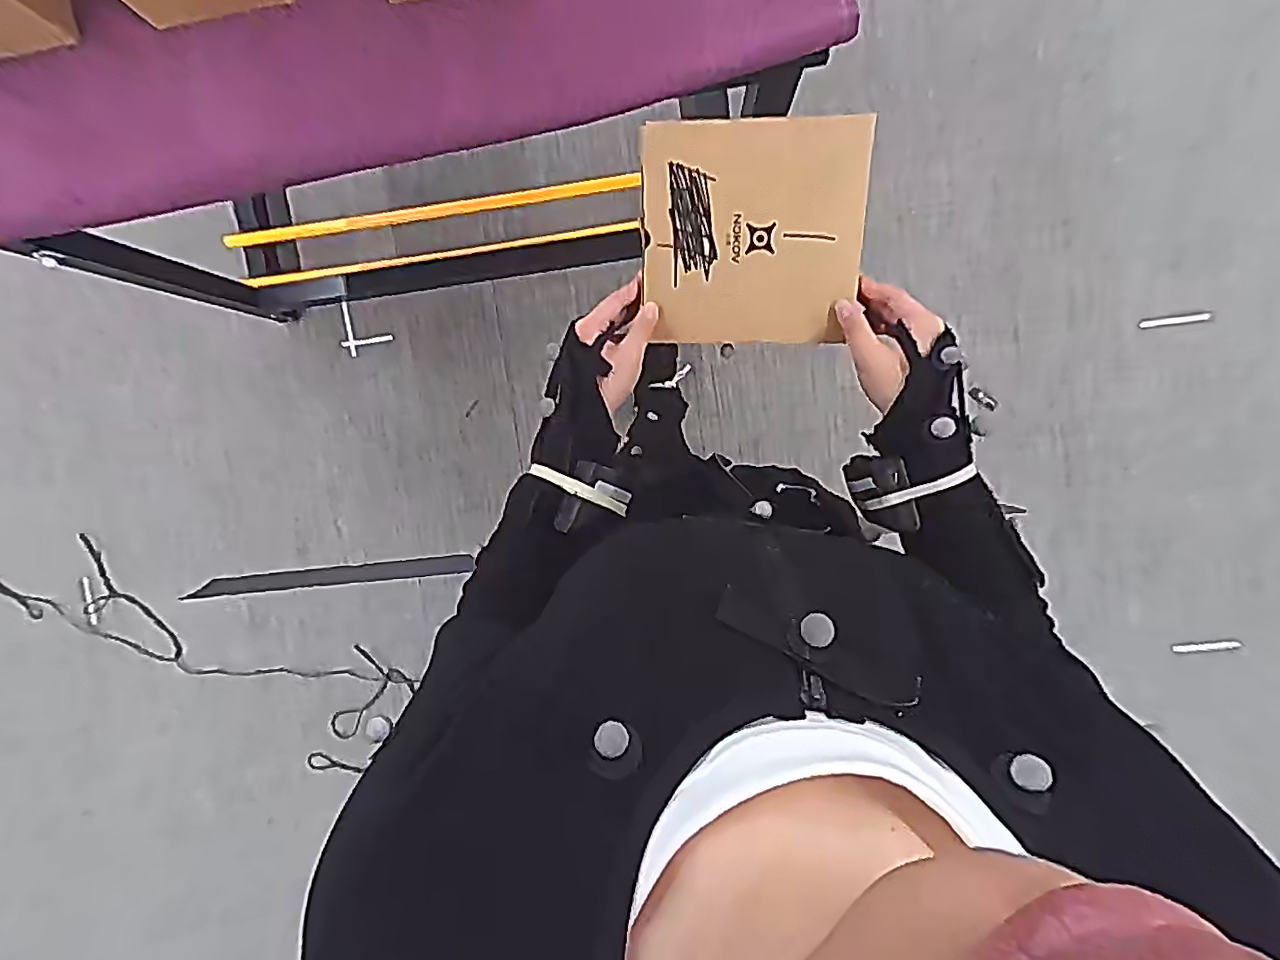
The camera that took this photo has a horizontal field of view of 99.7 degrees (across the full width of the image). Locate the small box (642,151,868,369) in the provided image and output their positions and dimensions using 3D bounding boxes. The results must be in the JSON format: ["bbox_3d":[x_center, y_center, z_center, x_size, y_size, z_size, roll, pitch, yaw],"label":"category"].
[{"bbox_3d":[0.099,-0.194,0.521,0.179,0.176,0.168,2,101,6],"label":"small box"}]
